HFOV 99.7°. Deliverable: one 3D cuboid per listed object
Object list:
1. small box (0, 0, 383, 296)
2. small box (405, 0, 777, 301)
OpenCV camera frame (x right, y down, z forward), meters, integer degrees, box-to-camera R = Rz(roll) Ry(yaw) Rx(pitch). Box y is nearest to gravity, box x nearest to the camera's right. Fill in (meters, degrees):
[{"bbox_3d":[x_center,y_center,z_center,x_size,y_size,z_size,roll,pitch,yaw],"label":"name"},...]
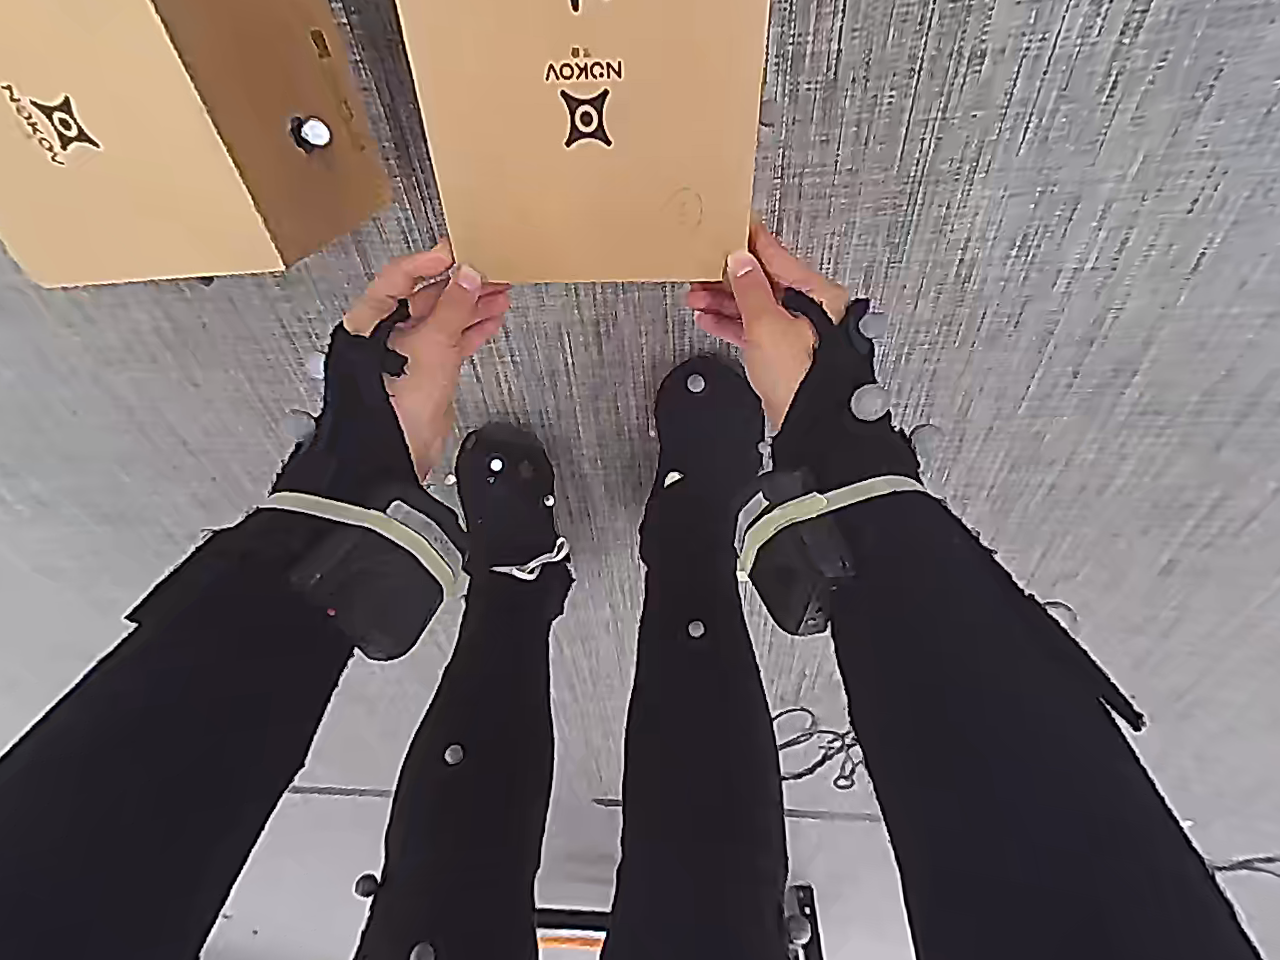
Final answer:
[{"bbox_3d":[-0.294,-0.234,0.347,0.179,0.176,0.168,-1,131,6],"label":"small box"},{"bbox_3d":[-0.017,-0.223,0.325,0.168,0.176,0.179,1,127,3],"label":"small box"}]
